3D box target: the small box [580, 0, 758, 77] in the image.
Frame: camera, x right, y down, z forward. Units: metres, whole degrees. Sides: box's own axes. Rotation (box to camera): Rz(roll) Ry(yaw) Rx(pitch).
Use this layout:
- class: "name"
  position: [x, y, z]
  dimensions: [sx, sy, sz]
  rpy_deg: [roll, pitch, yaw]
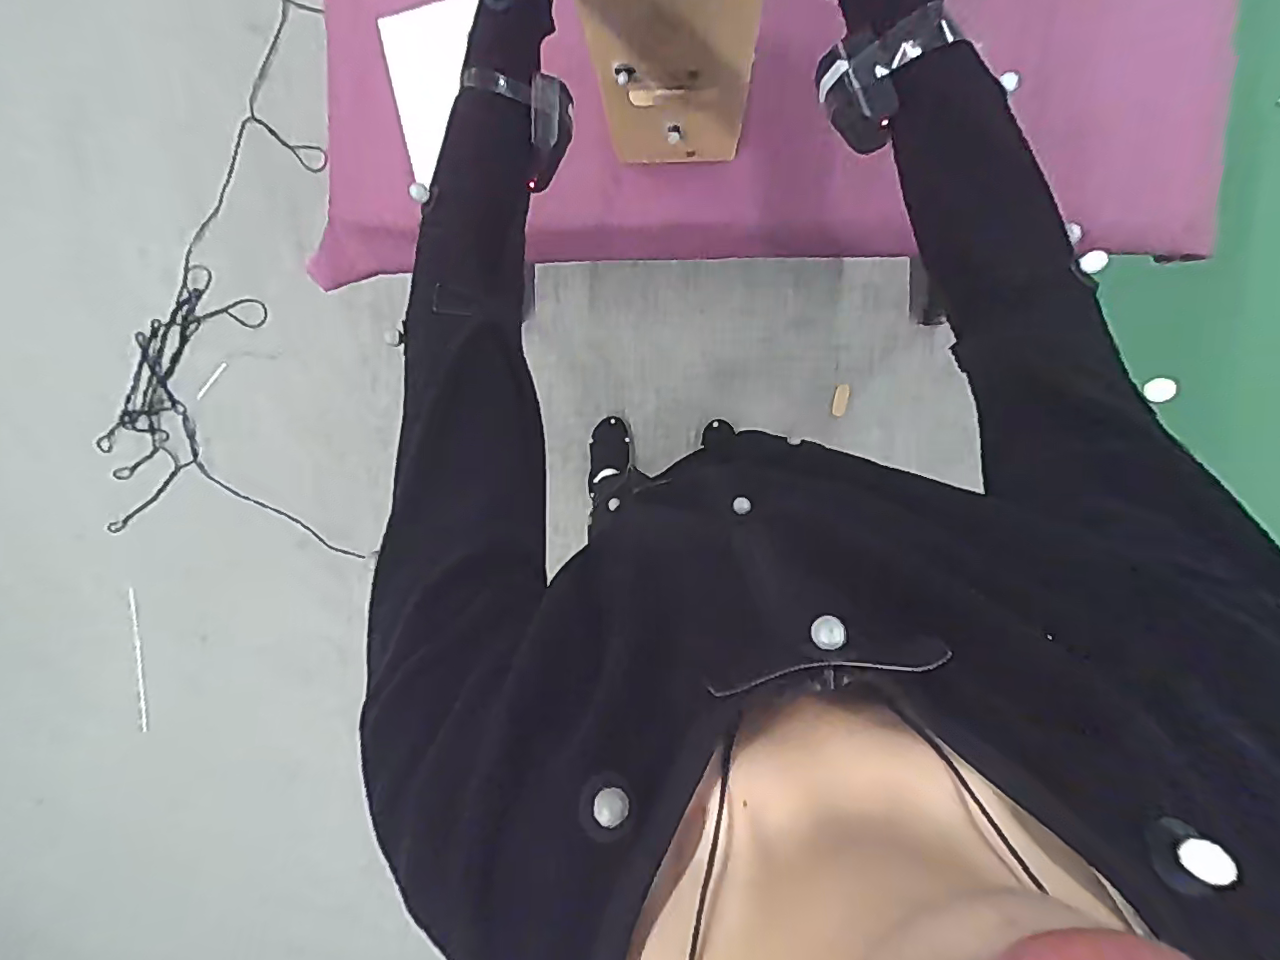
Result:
- class: "small box"
  position: [0.030, -0.516, 0.506]
  dimensions: [0.168, 0.176, 0.179]
  rpy_deg: [2, 92, 5]

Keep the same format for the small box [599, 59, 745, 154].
- class: "small box"
  position: [0.045, -0.531, 0.670]
  dimensions: [0.168, 0.176, 0.179]
  rpy_deg: [2, 94, 5]
